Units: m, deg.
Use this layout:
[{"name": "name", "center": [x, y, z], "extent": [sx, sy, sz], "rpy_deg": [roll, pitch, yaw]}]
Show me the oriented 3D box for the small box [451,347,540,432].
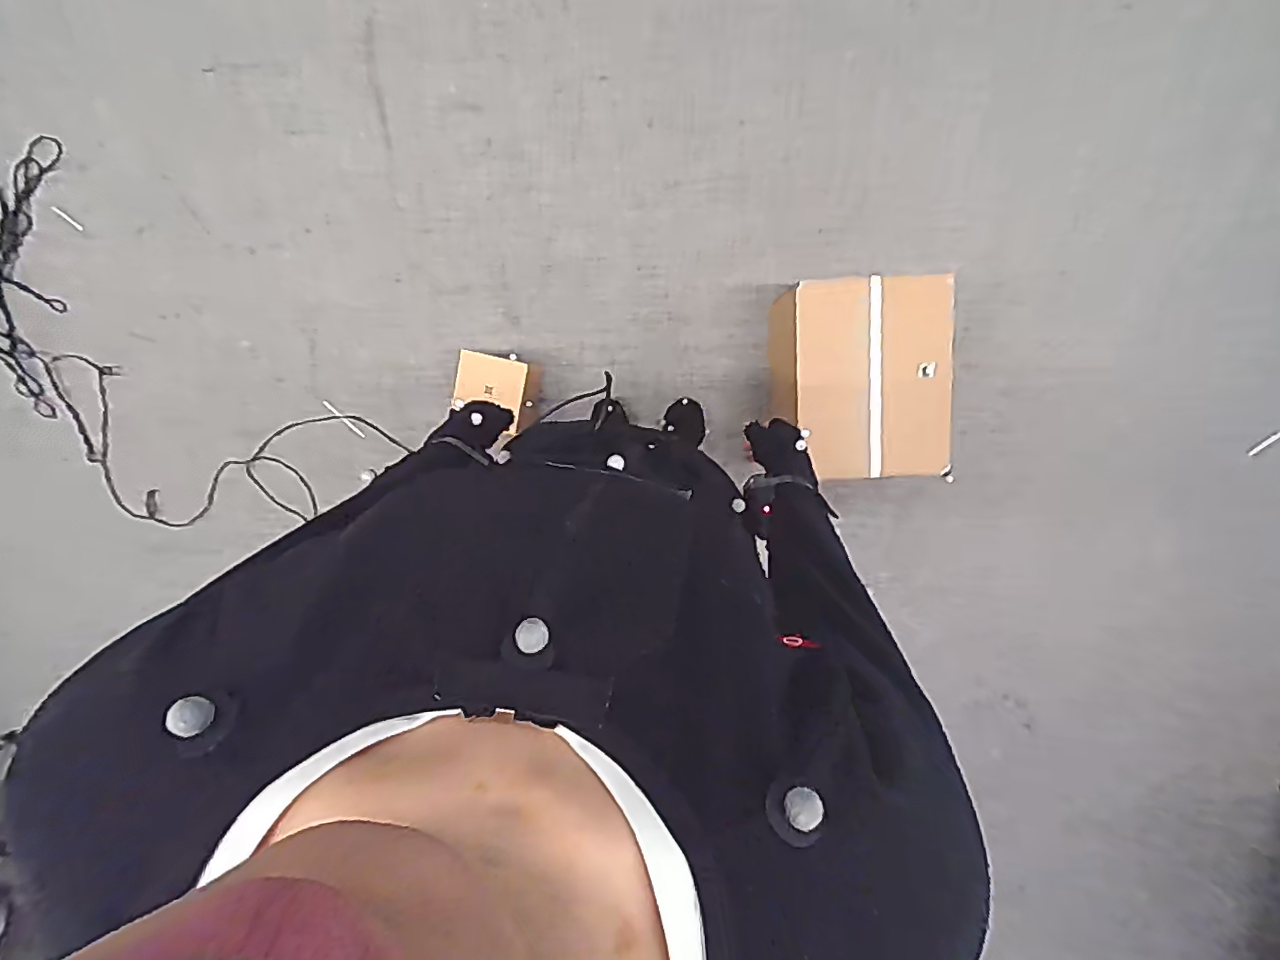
[{"name": "small box", "center": [-0.361, -0.231, 1.379], "extent": [0.168, 0.176, 0.179], "rpy_deg": [12, 101, 1]}]
